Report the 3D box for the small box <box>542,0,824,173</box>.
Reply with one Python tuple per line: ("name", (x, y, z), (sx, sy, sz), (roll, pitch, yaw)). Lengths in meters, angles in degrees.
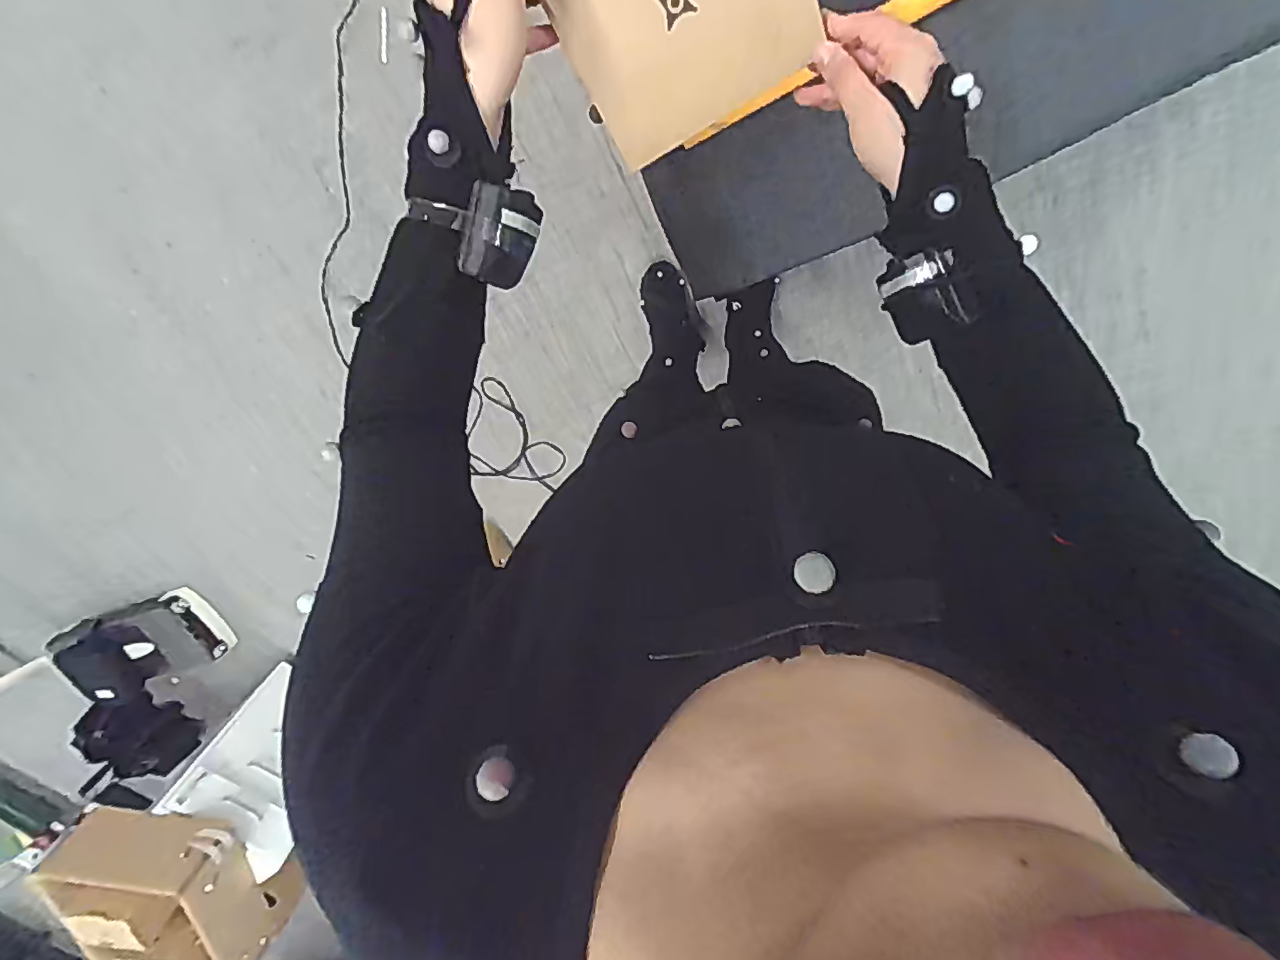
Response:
("small box", (0.028, -0.389, 0.420), (0.168, 0.176, 0.179), (-19, 132, 23))
